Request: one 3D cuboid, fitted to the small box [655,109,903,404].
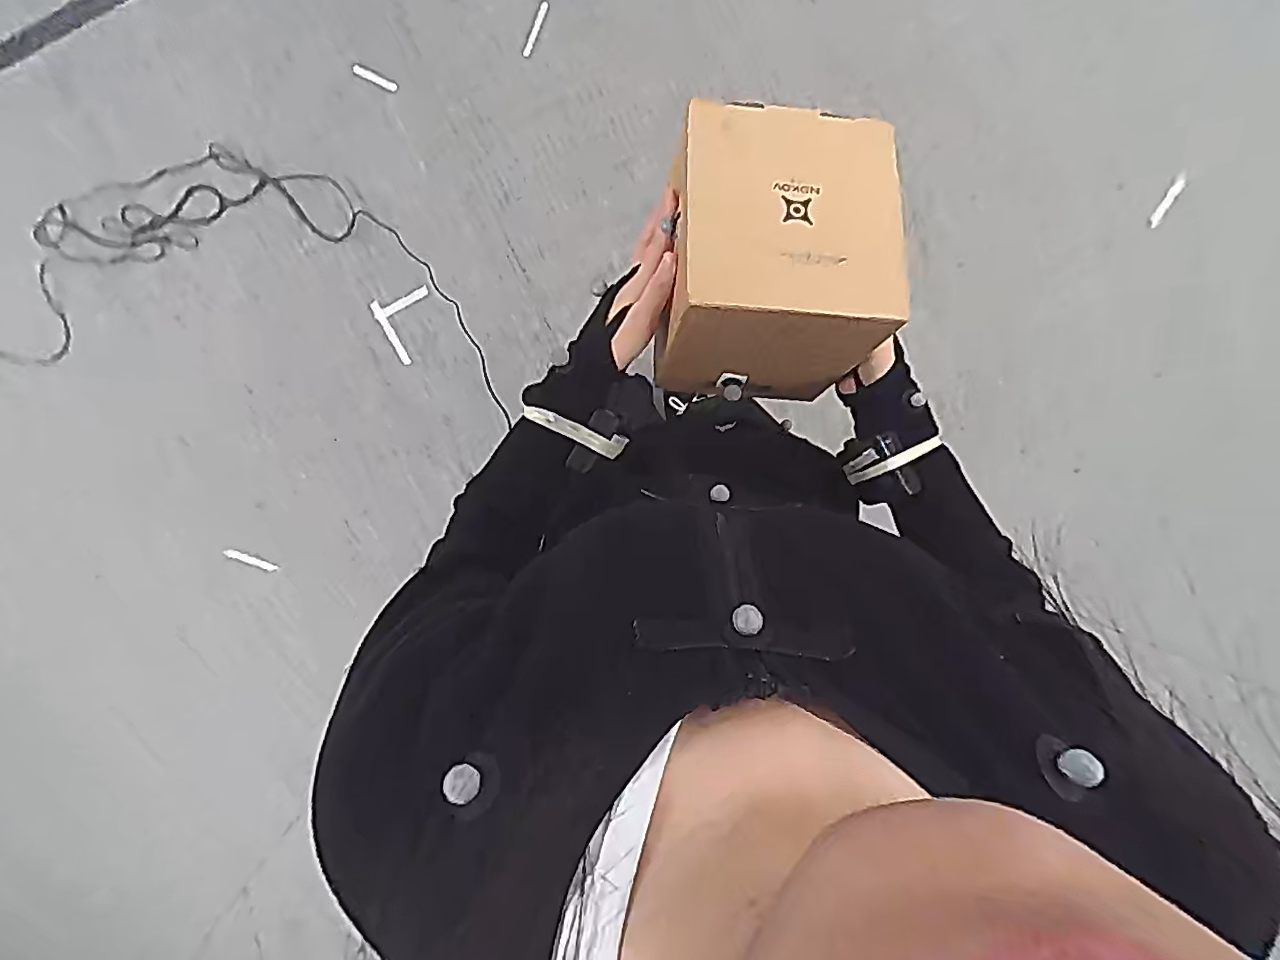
[{"bbox_3d":[0.104,-0.183,0.484,0.168,0.176,0.179,1,77,-5],"label":"small box"}]
